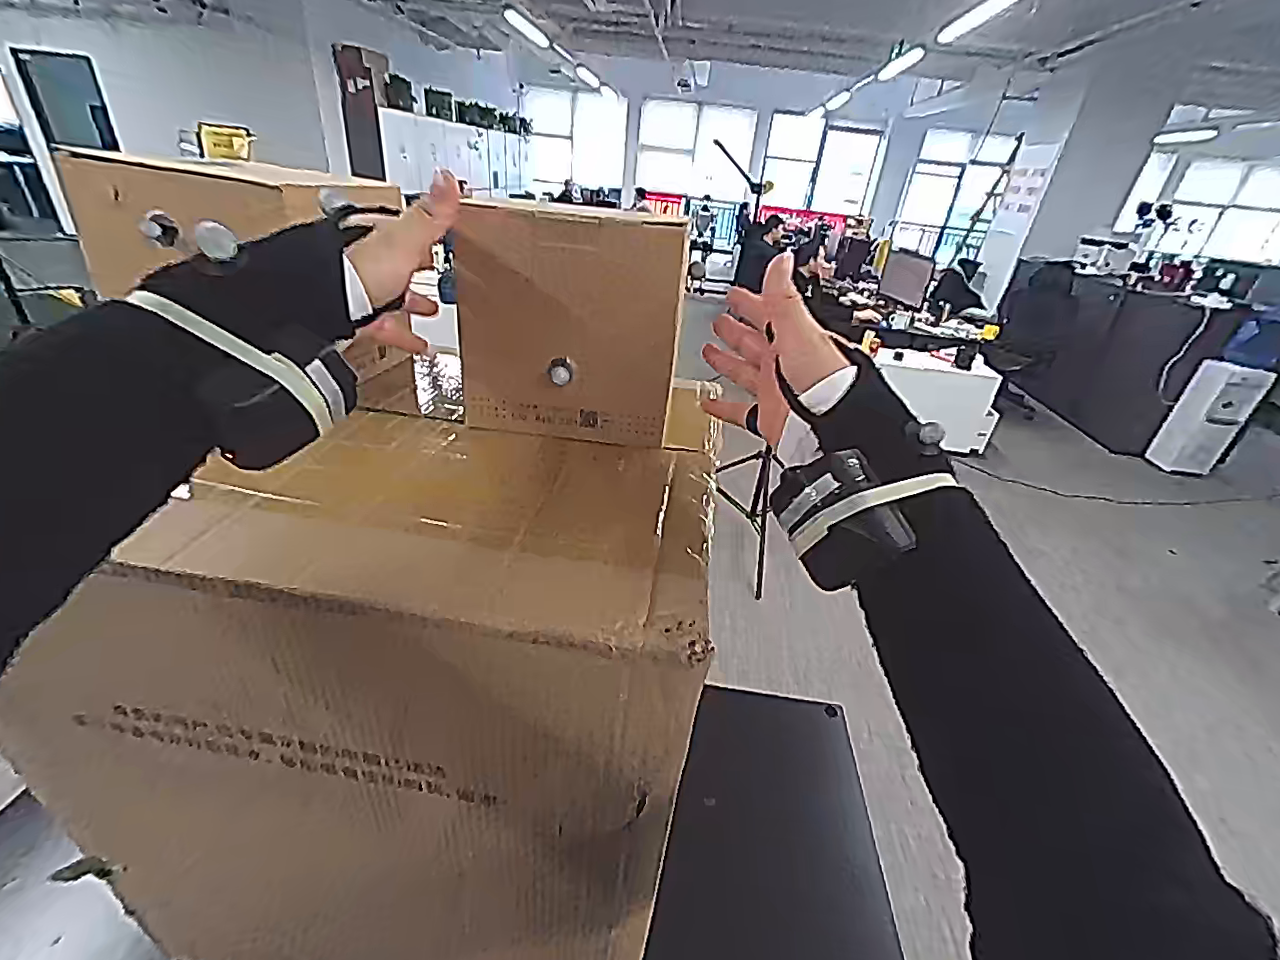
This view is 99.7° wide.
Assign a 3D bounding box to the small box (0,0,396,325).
[{"bbox_3d":[-0.310,-0.222,0.405,0.179,0.176,0.168,10,29,3],"label":"small box"}]

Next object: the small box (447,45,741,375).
[{"bbox_3d":[-0.025,-0.187,0.399,0.168,0.176,0.179,6,27,3],"label":"small box"}]
